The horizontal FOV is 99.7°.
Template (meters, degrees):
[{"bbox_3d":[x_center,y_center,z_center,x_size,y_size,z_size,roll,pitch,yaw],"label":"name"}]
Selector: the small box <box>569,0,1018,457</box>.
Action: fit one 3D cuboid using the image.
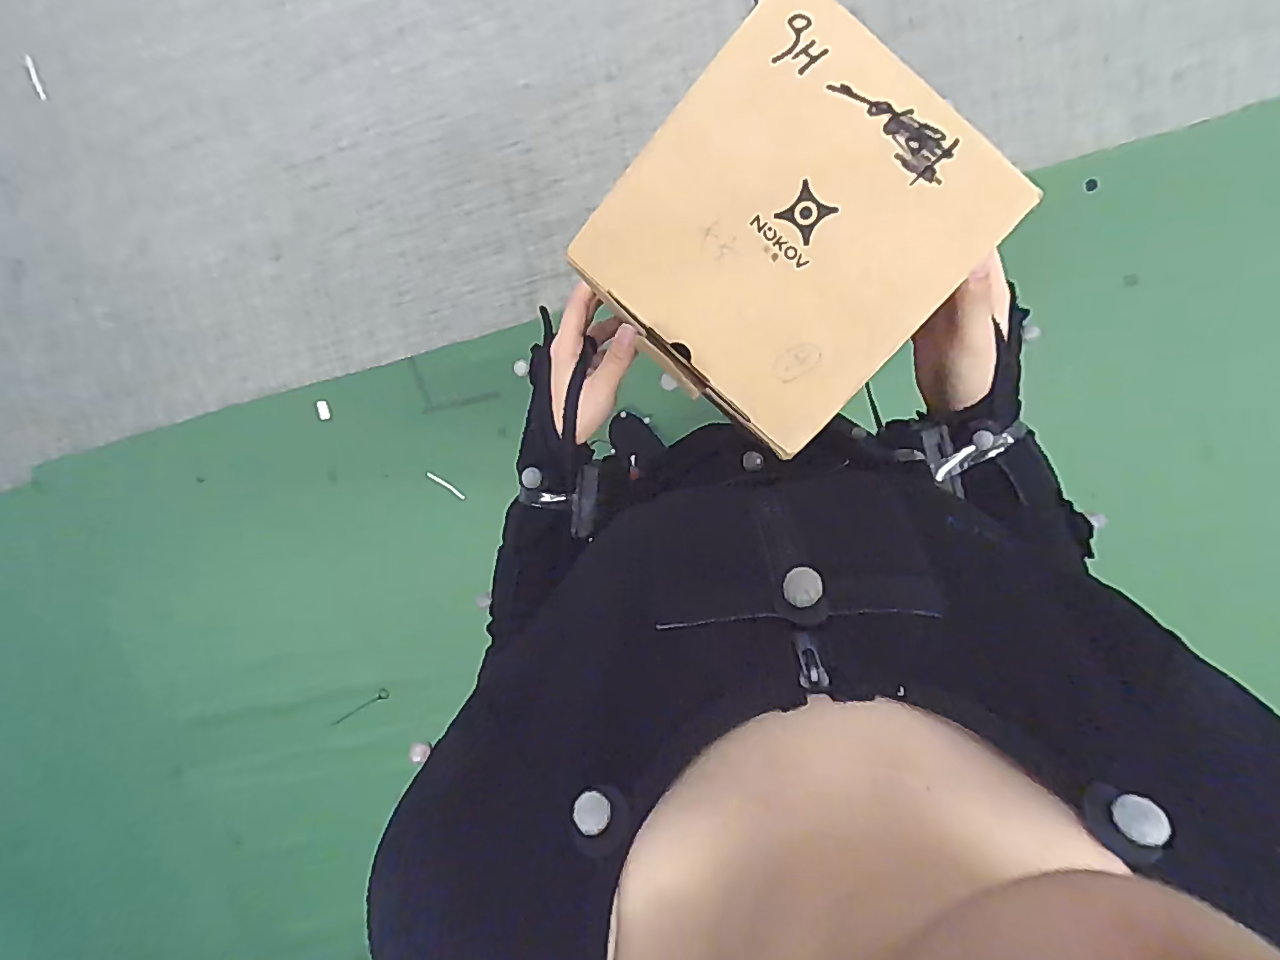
[{"bbox_3d":[0.084,-0.139,0.362,0.168,0.176,0.179,42,101,-1],"label":"small box"}]
